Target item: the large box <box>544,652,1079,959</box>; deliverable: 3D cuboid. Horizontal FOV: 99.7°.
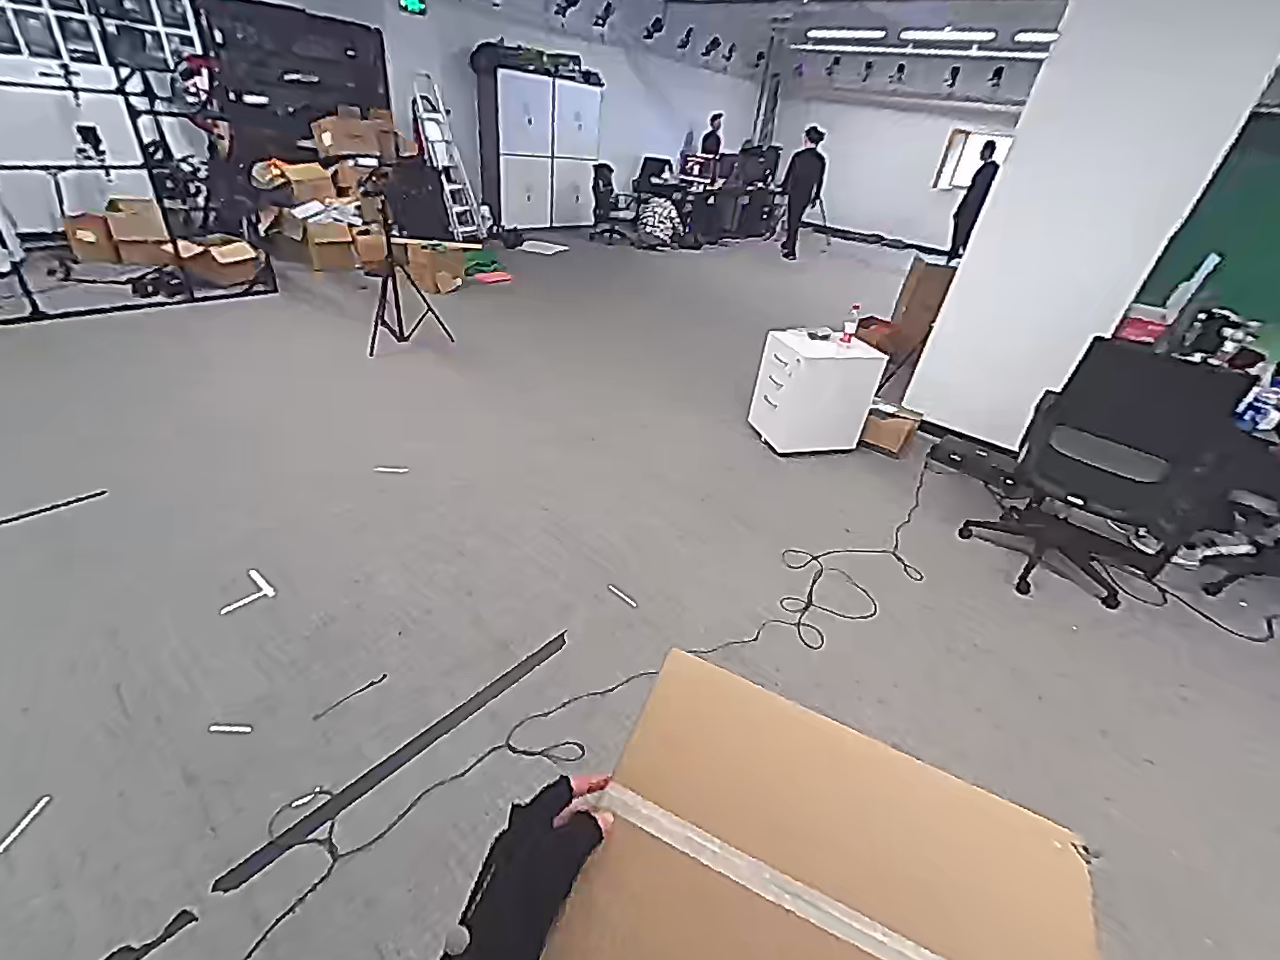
[{"bbox_3d":[0.142,0.453,0.562,0.408,0.320,0.320,22,49,13],"label":"large box"}]
